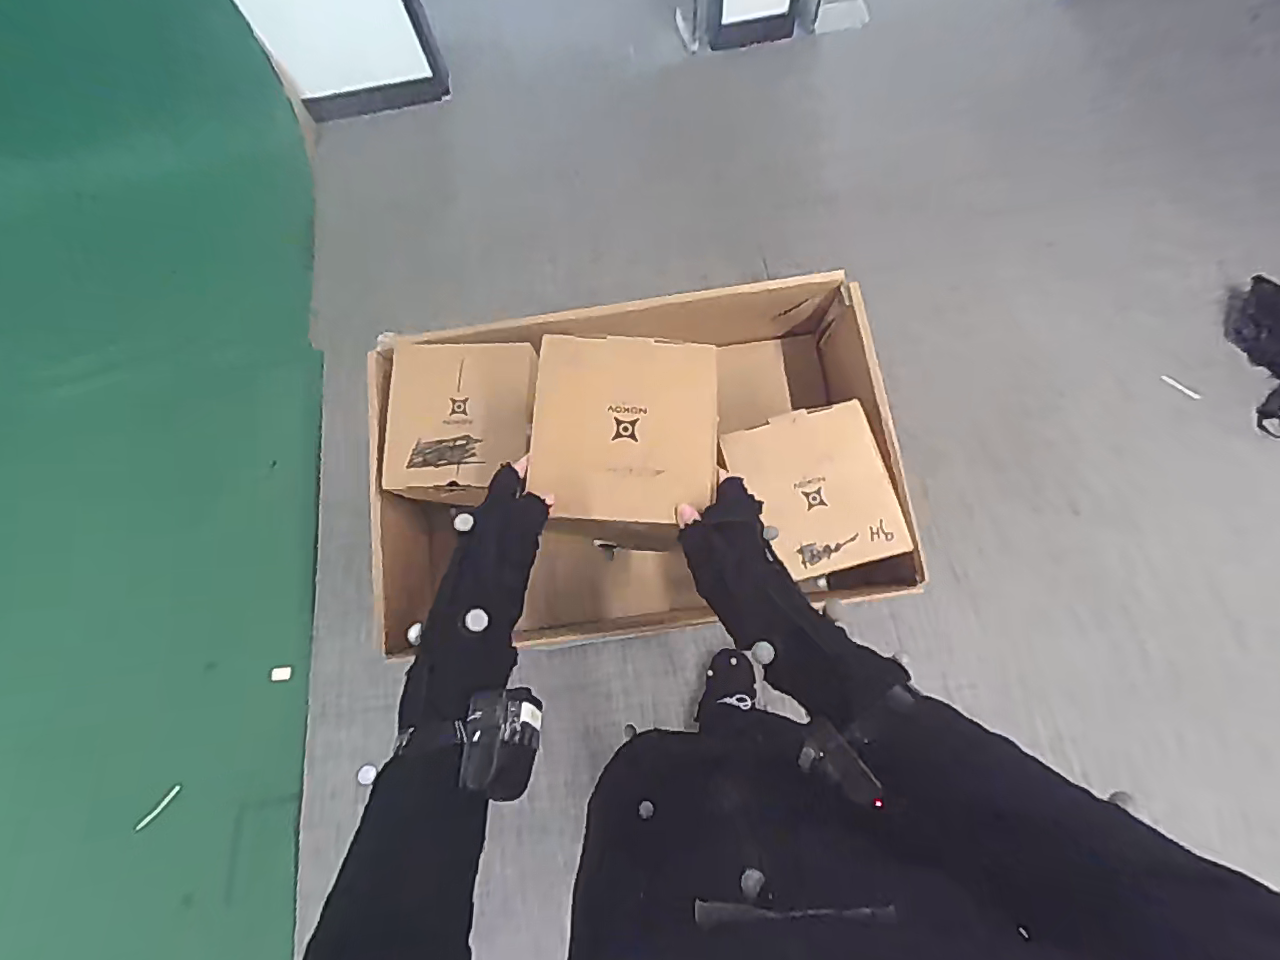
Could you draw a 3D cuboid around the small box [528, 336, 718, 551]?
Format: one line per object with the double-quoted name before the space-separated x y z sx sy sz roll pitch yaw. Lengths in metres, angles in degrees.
"small box" -0.016 -0.027 0.566 0.168 0.176 0.179 3 76 -2
